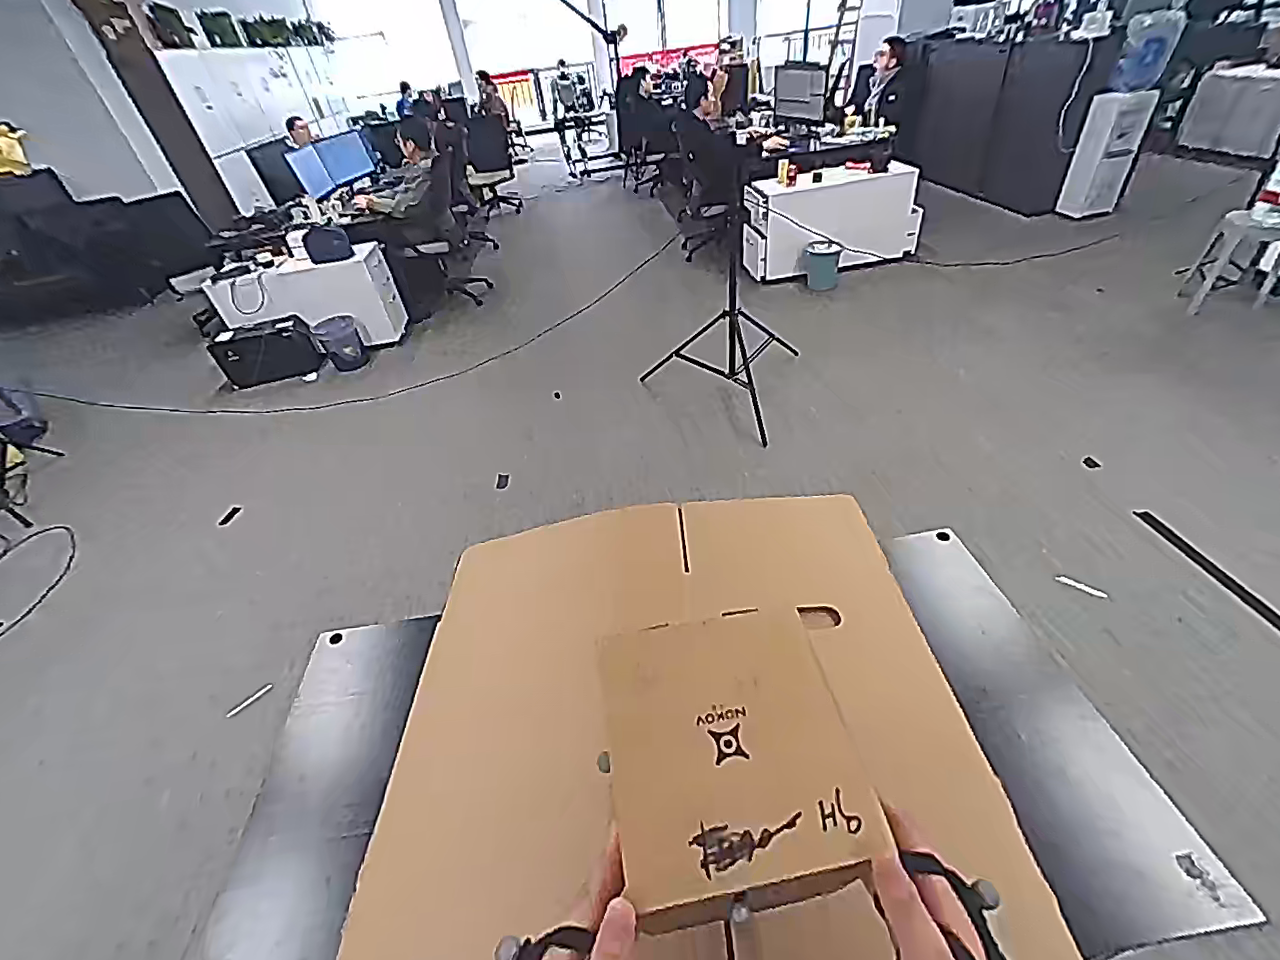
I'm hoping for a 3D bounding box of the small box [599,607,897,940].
[{"bbox_3d":[0.063,0.230,0.429,0.168,0.176,0.179,-9,46,-5],"label":"small box"}]
